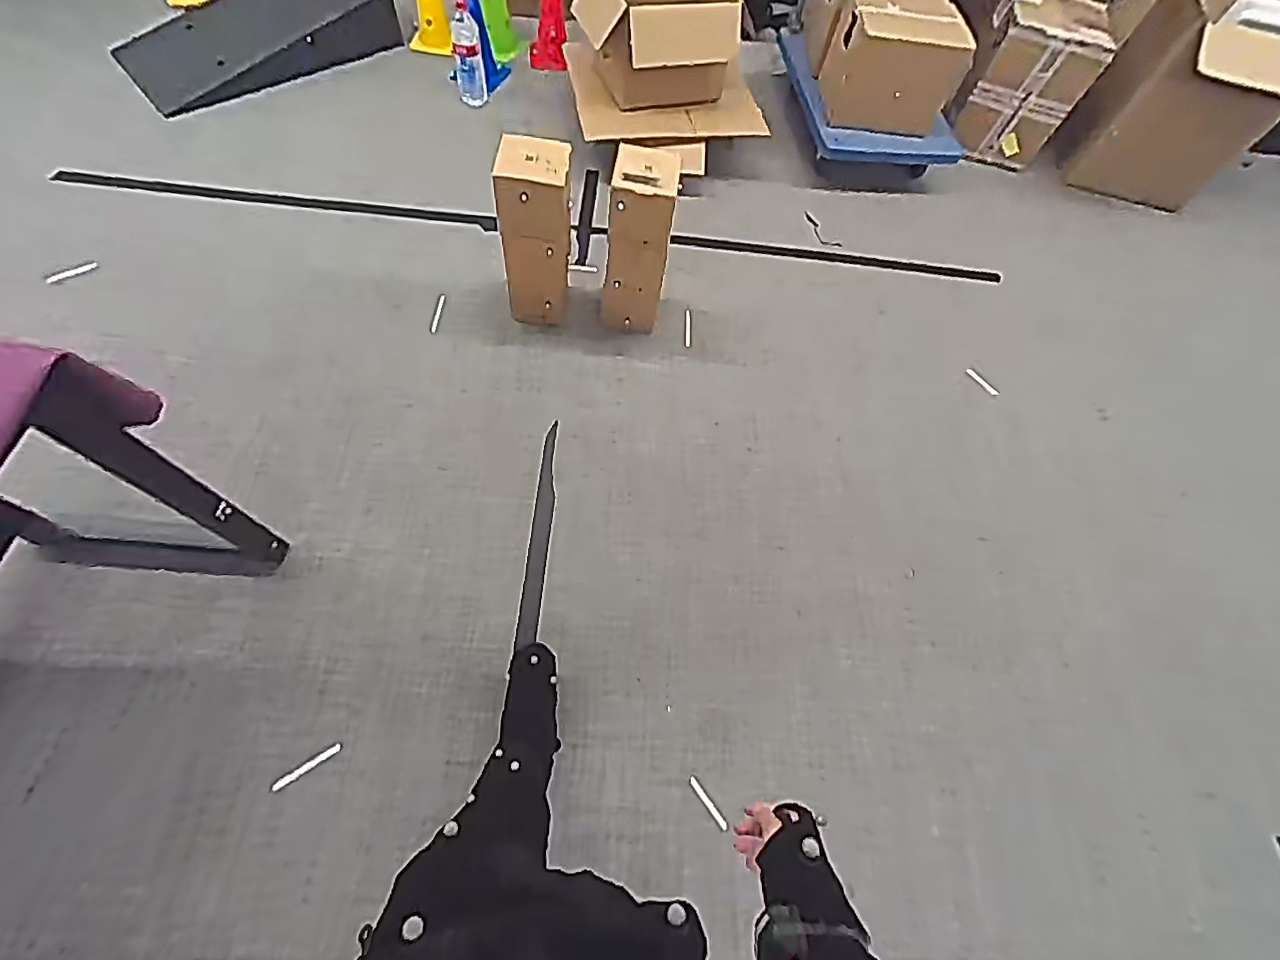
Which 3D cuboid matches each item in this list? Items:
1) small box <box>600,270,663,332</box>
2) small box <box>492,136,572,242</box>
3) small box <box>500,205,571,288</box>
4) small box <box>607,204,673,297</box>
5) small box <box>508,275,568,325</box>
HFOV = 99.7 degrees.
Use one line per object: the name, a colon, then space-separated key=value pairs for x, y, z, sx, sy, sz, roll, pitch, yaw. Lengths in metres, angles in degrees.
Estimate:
small box: x=-0.025 y=-0.596 z=1.724 sx=0.179 sy=0.176 sz=0.168 roll=9 pitch=63 yaw=-3
small box: x=-0.274 y=-0.747 z=1.400 sx=0.179 sy=0.176 sz=0.168 roll=6 pitch=64 yaw=-6
small box: x=-0.293 y=-0.674 z=1.547 sx=0.179 sy=0.176 sz=0.168 roll=5 pitch=63 yaw=-6
small box: x=-0.003 y=-0.663 z=1.575 sx=0.168 sy=0.176 sz=0.179 roll=8 pitch=62 yaw=-3
small box: x=-0.314 y=-0.610 z=1.695 sx=0.168 sy=0.176 sz=0.179 roll=4 pitch=62 yaw=-6
